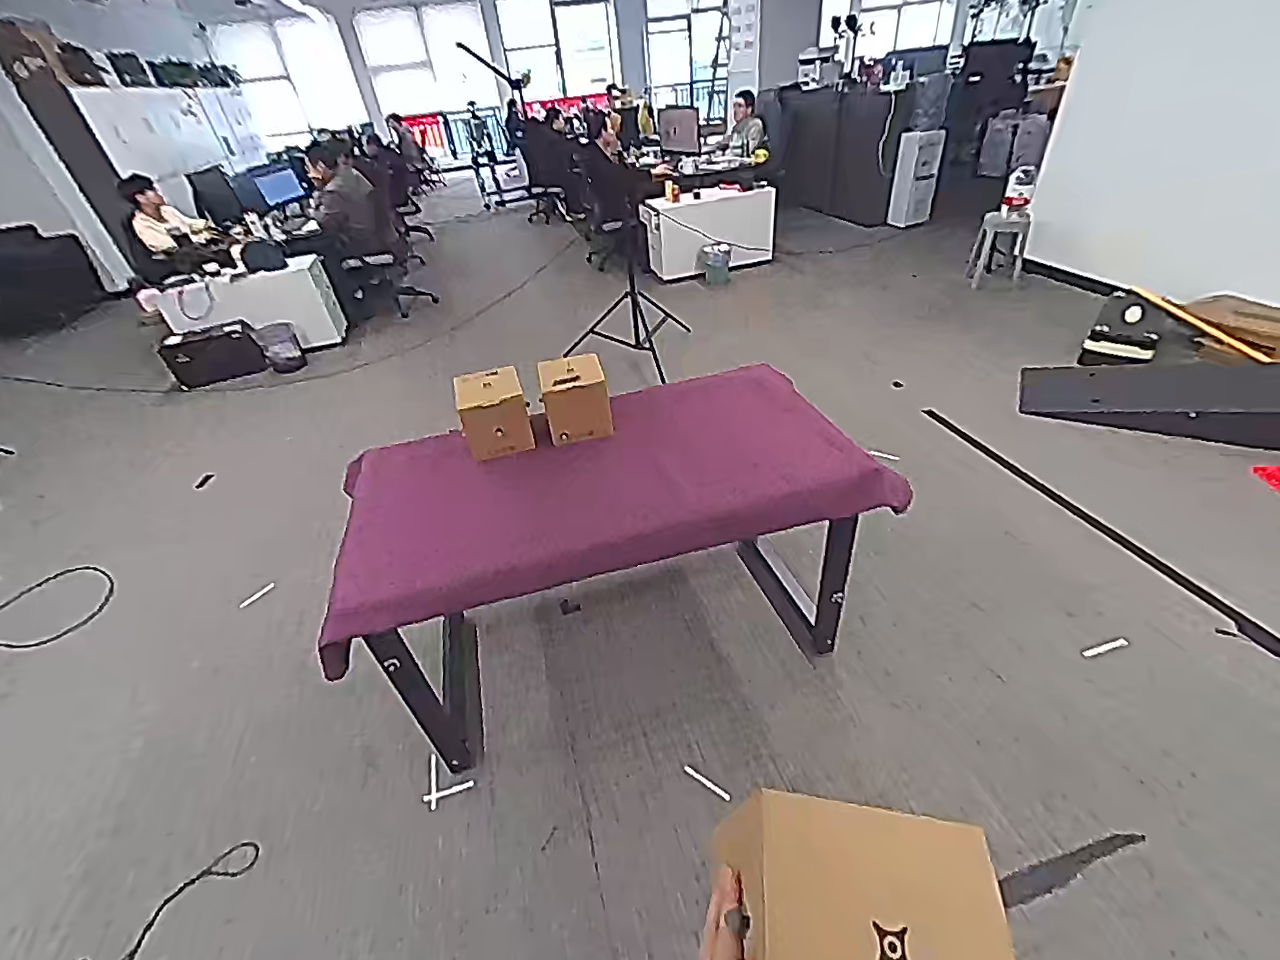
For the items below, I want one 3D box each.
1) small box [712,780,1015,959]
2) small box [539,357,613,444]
[{"bbox_3d":[0.150,0.353,0.401,0.168,0.176,0.179,10,48,1],"label":"small box"},{"bbox_3d":[-0.173,-0.212,1.473,0.168,0.176,0.179,-12,38,-6],"label":"small box"}]
